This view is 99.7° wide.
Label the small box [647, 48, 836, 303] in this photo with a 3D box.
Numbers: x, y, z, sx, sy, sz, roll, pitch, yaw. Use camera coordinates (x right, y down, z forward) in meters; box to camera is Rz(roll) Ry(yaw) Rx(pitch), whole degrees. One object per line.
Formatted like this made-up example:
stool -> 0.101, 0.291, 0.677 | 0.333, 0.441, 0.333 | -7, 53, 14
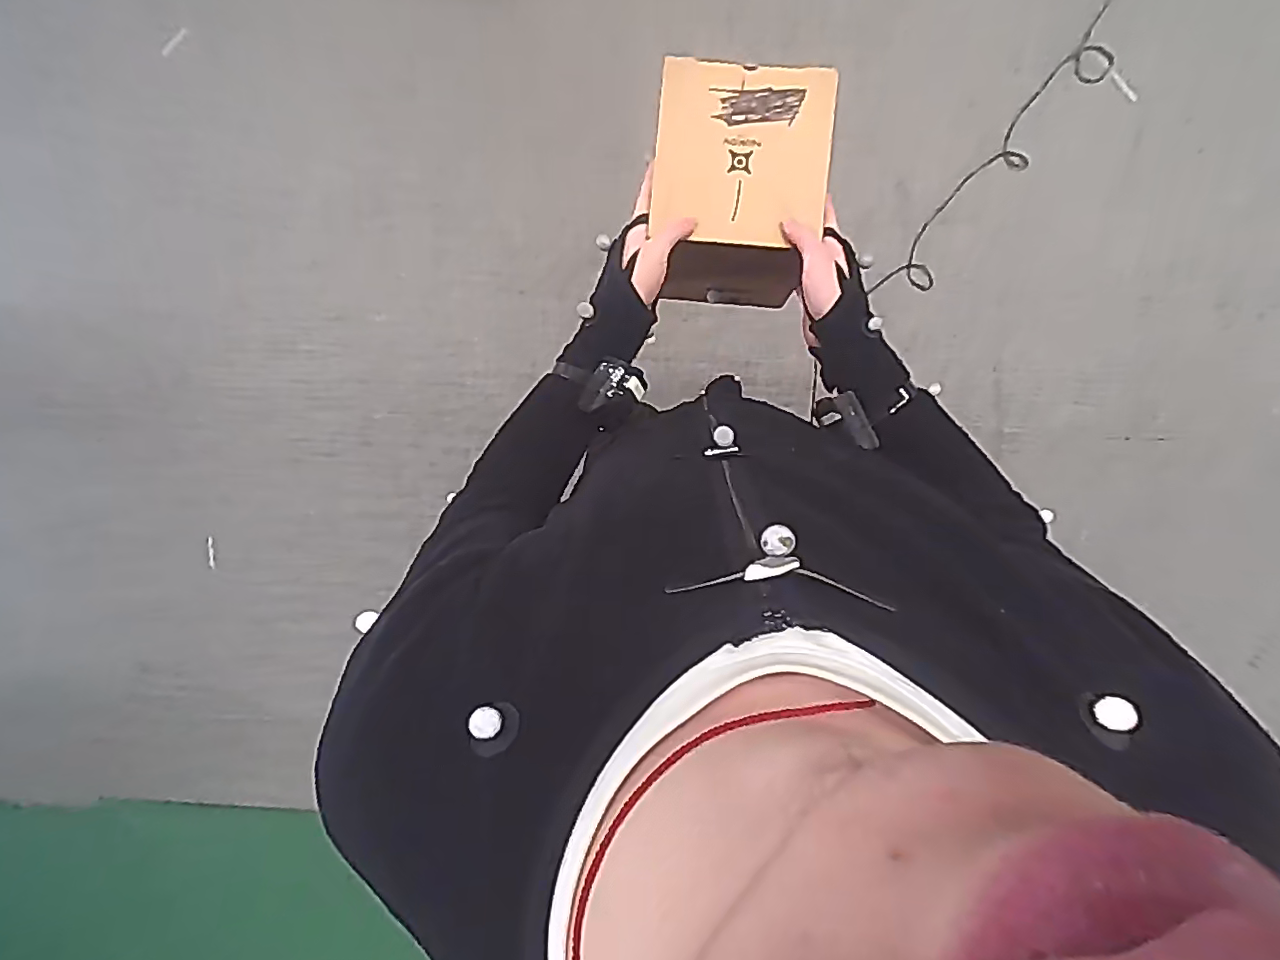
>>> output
small box -> 0.097, -0.313, 0.587 | 0.168, 0.176, 0.179 | 5, 90, 2
